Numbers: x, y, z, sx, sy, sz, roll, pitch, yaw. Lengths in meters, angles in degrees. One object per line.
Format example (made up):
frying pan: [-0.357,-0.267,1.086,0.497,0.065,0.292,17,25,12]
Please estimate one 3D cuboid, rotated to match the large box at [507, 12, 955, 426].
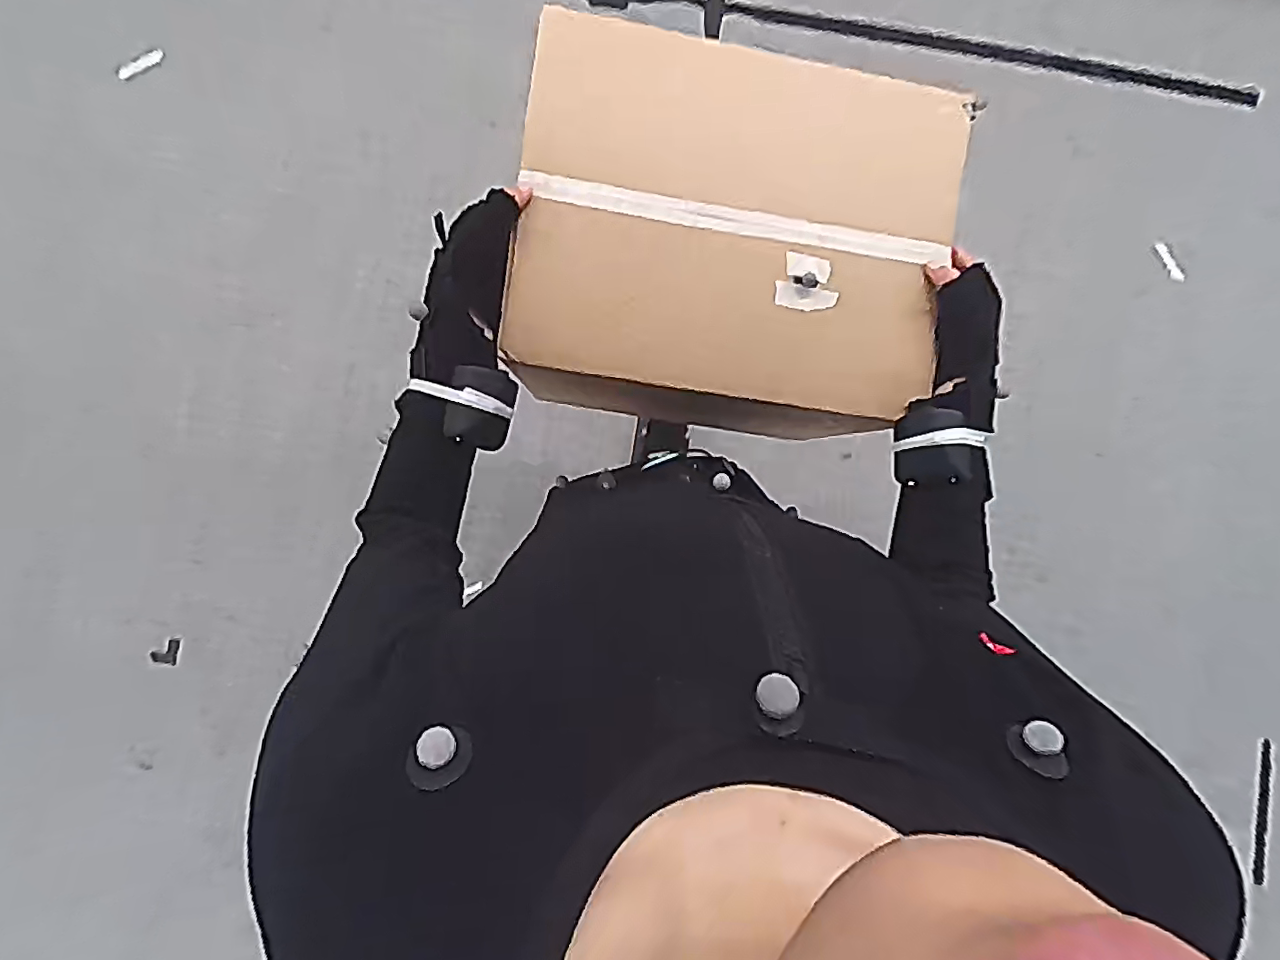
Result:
large box: [0.076,-0.252,0.655,0.408,0.320,0.320,8,92,-6]
